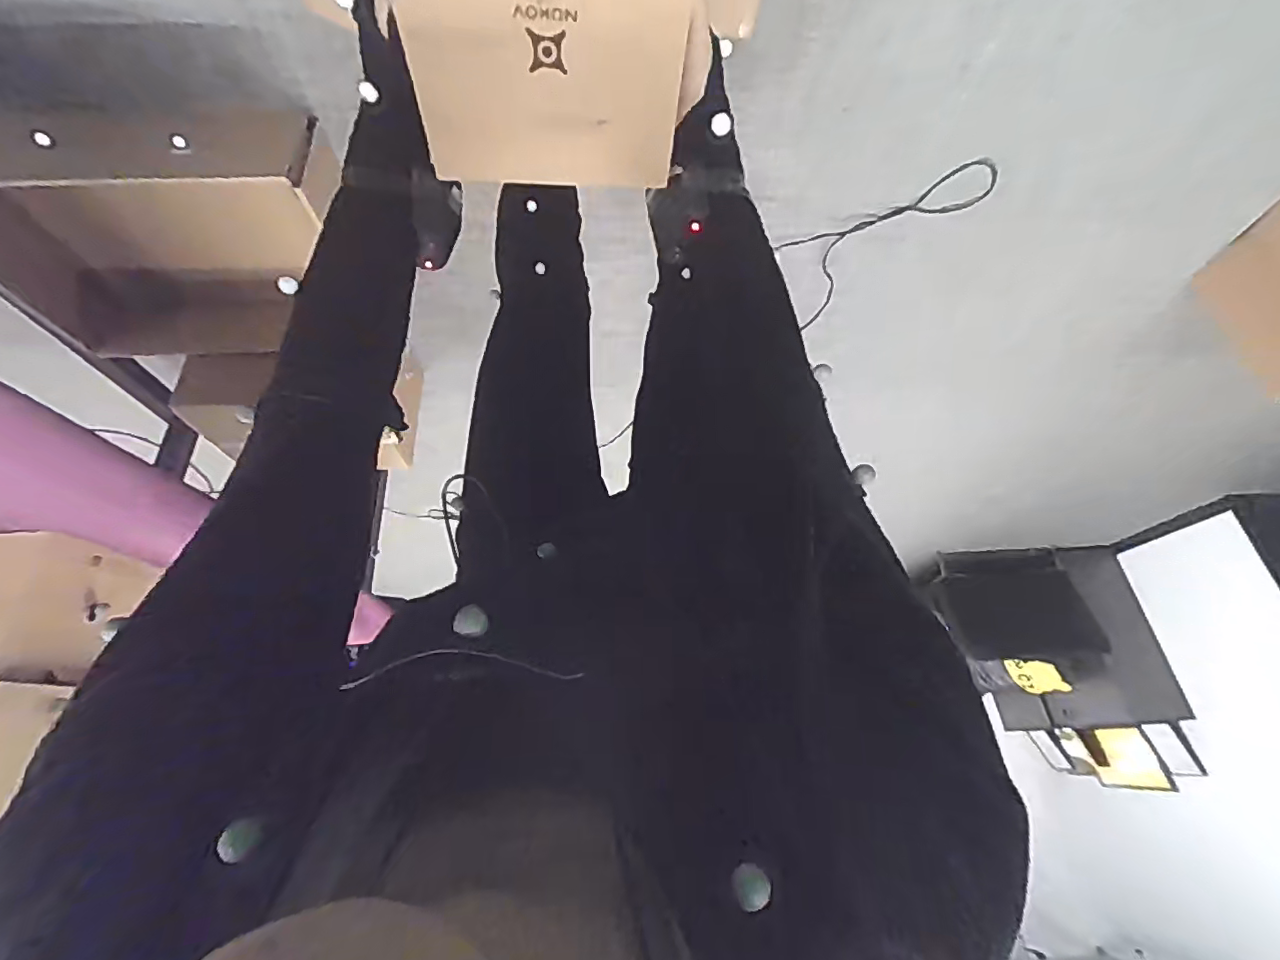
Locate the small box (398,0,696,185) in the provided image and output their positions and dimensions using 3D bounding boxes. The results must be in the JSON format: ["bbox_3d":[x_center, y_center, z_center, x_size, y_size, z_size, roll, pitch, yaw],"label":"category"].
[{"bbox_3d":[-0.058,-0.326,0.347,0.168,0.176,0.179,-1,153,-6],"label":"small box"}]

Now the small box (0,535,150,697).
[{"bbox_3d":[-0.746,0.171,0.648,0.179,0.176,0.168,-4,153,-1],"label":"small box"}]
